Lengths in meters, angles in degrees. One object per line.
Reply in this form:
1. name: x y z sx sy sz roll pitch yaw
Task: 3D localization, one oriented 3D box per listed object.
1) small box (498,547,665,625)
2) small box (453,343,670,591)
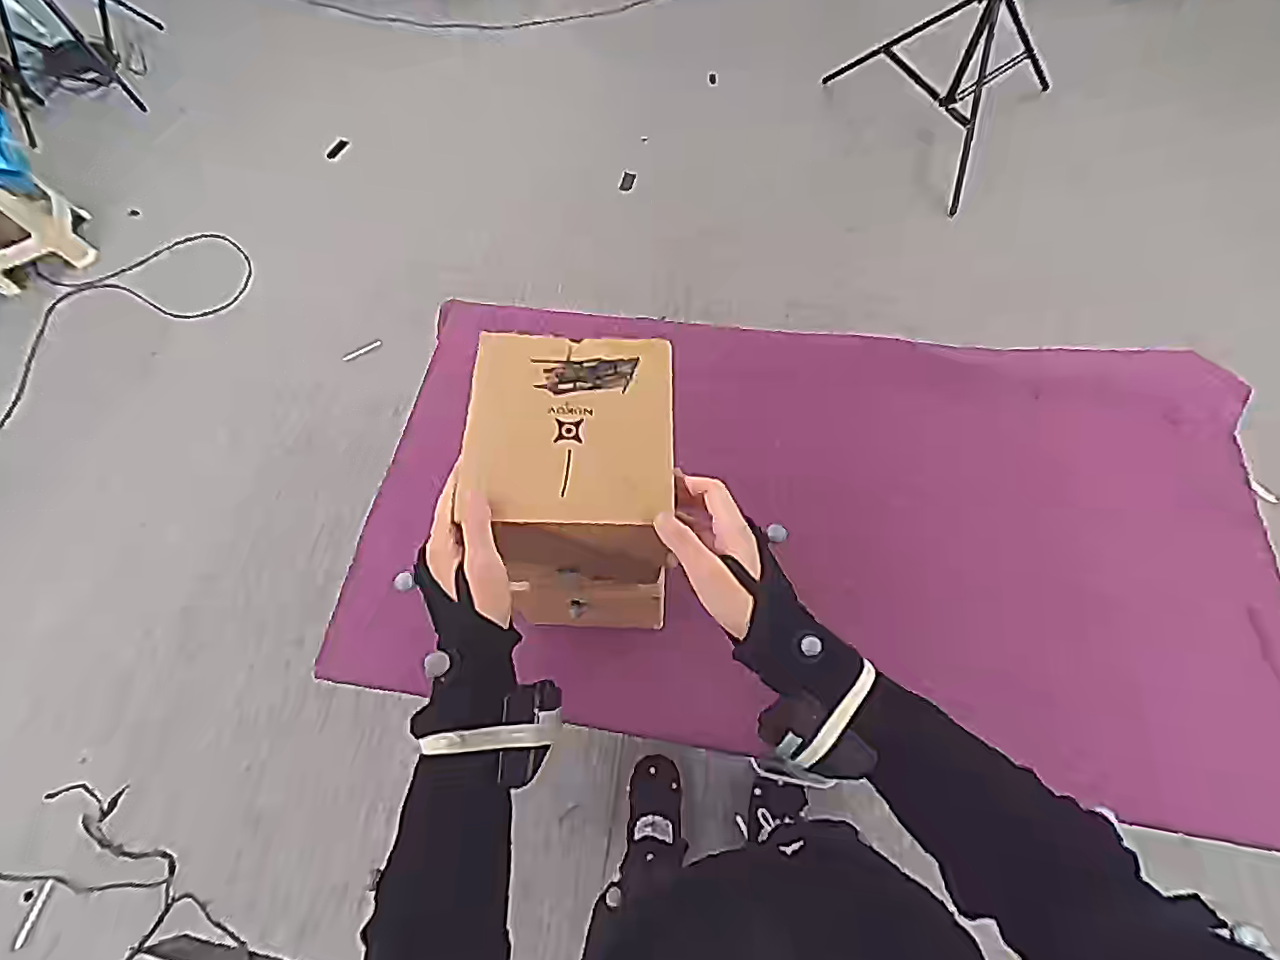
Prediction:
1. small box: -0.056 0.081 0.672 0.179 0.176 0.168 2 65 4
2. small box: -0.062 -0.005 0.514 0.168 0.176 0.179 2 64 -2
